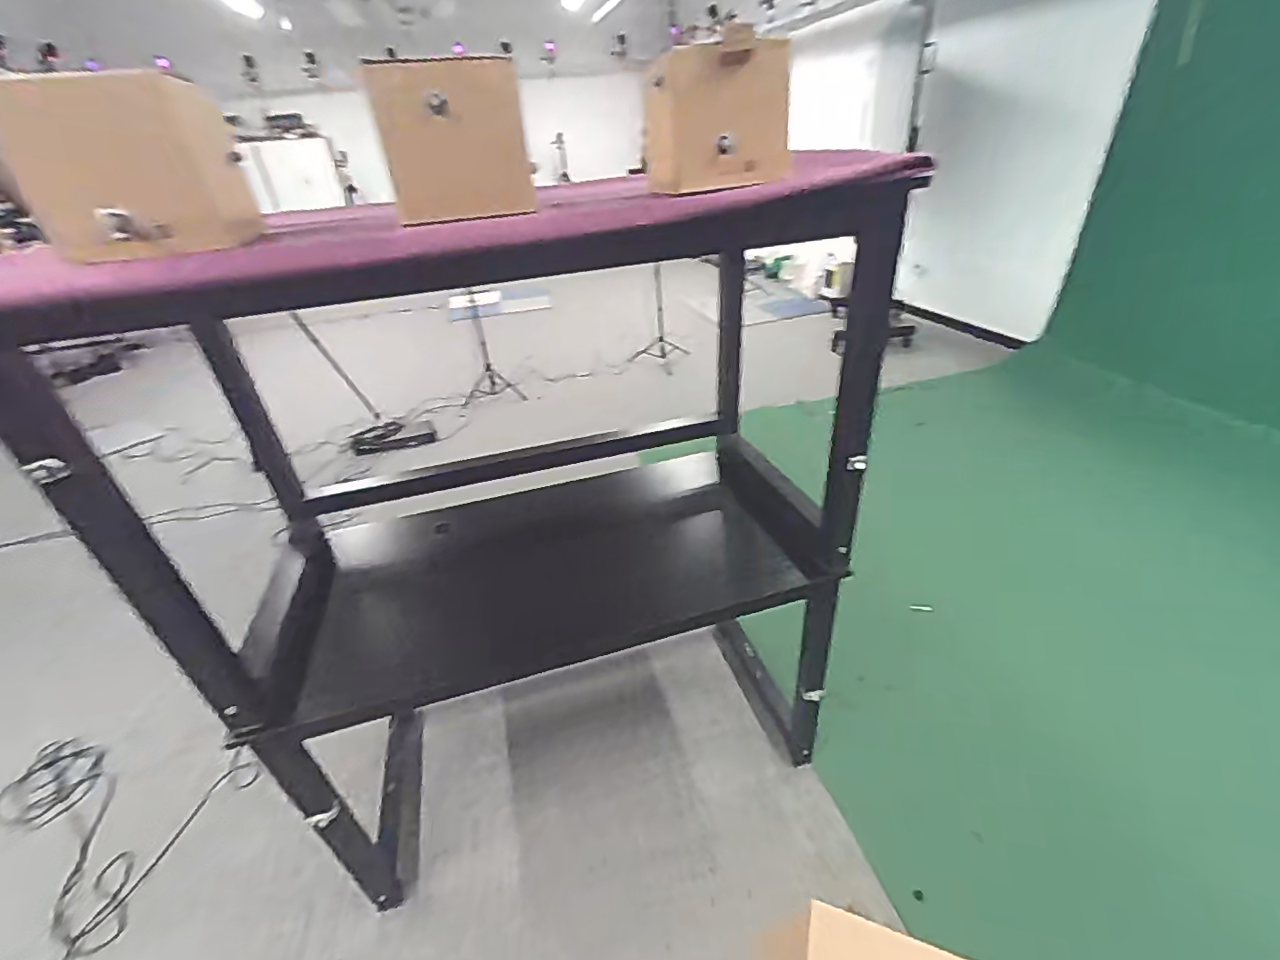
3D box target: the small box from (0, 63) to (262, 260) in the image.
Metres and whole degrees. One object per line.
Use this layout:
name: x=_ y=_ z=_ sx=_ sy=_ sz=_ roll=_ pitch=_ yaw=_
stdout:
small box: x=-0.570 y=-0.358 z=0.618 sx=0.168 sy=0.176 sz=0.179 roll=-15 pitch=35 yaw=-14

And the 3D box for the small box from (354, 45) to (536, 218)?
small box: x=-0.245 y=-0.450 z=0.717 sx=0.179 sy=0.176 sz=0.168 roll=-11 pitch=31 yaw=-11

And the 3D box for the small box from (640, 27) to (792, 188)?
small box: x=0.102 y=-0.522 z=0.780 sx=0.168 sy=0.176 sz=0.179 roll=-12 pitch=31 yaw=-8
